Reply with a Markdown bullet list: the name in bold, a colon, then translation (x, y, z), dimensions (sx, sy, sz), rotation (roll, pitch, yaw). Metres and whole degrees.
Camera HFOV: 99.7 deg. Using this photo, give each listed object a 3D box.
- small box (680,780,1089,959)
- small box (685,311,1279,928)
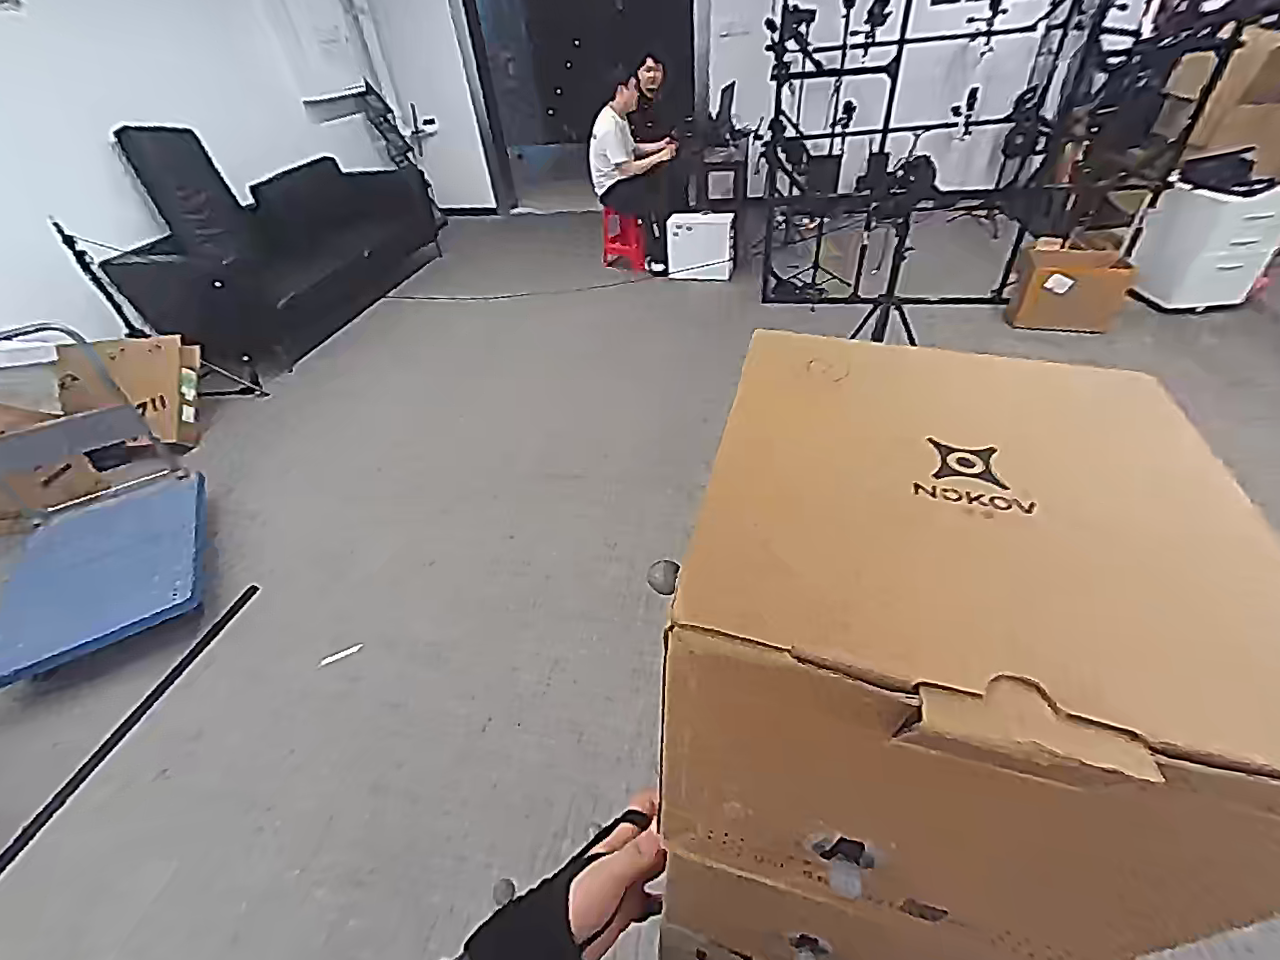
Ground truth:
- **small box**: translation (0.123, 0.172, 0.340), dimensions (0.168, 0.176, 0.179), rotation (11, 41, 12)
- **small box**: translation (0.116, 0.048, 0.235), dimensions (0.168, 0.176, 0.179), rotation (9, 42, 12)
